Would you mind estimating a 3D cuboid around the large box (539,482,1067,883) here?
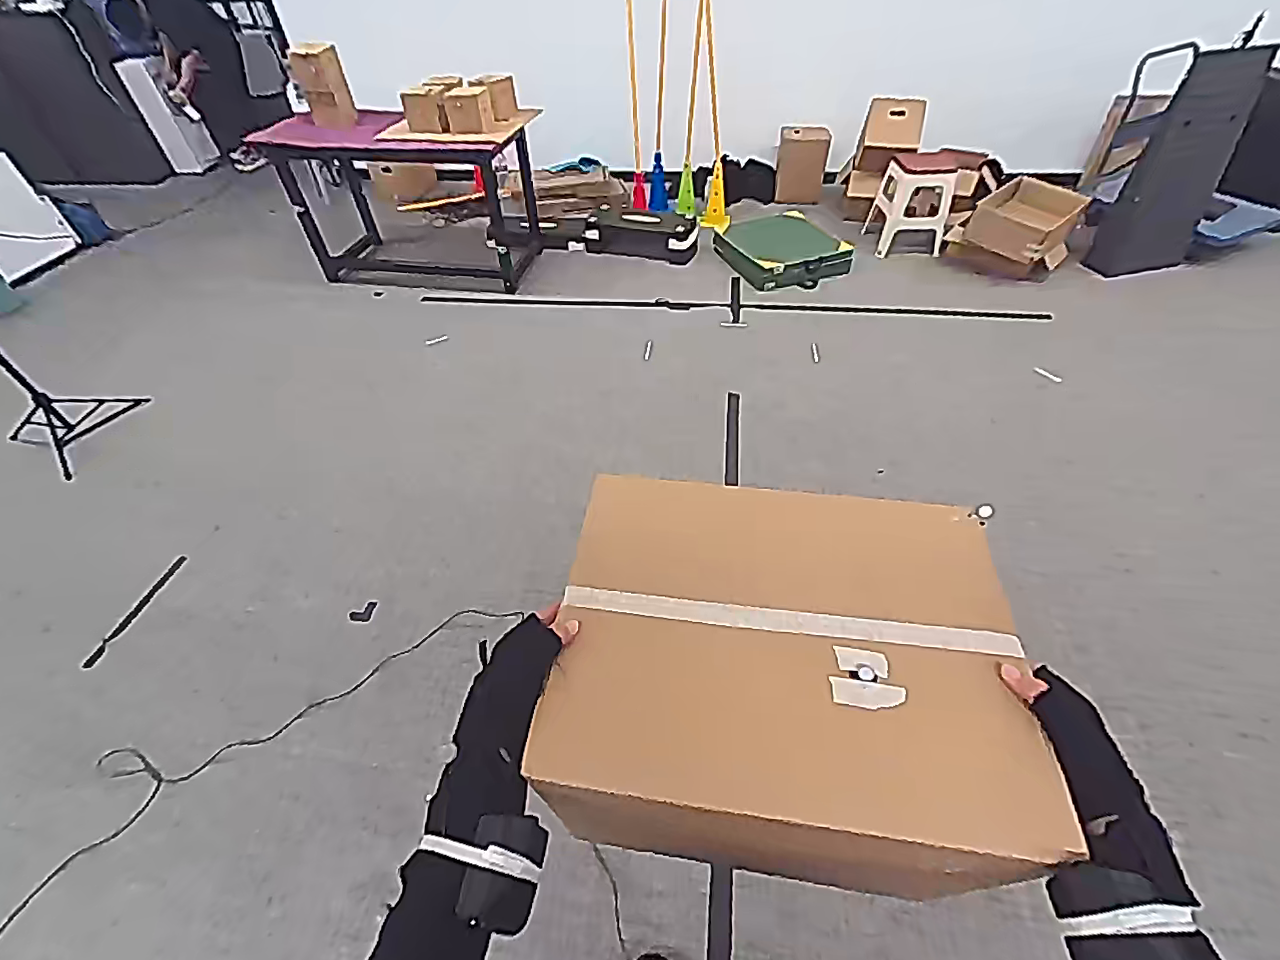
[{"bbox_3d":[0.136,0.229,0.616,0.408,0.320,0.320,5,51,7],"label":"large box"}]
